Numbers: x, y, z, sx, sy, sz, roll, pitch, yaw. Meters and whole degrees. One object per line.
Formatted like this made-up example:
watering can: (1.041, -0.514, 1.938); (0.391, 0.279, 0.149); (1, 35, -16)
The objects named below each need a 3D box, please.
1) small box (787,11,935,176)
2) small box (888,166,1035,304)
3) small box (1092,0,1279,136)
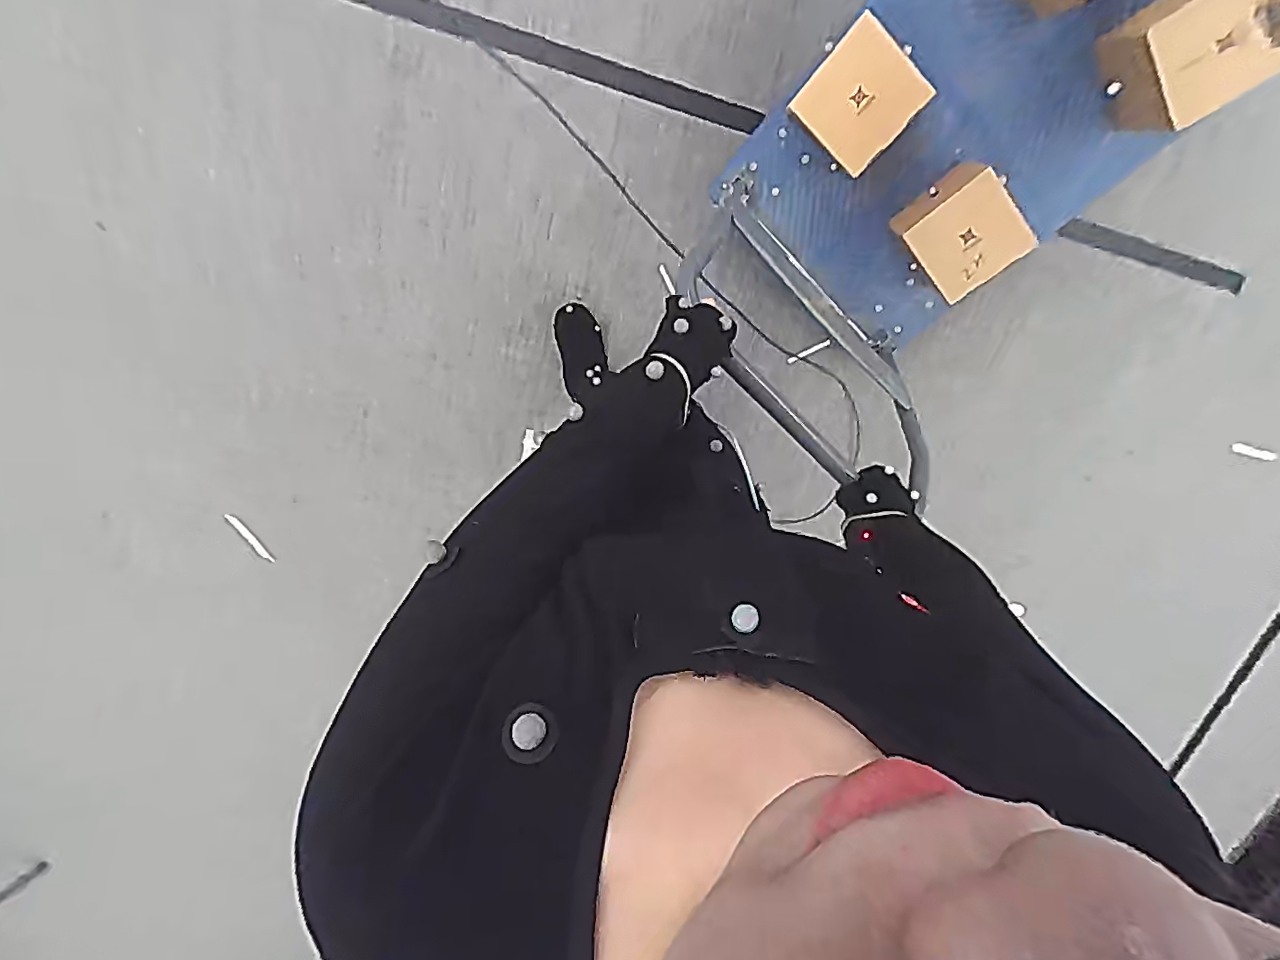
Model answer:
small box: (0.385, -0.685, 0.978); (0.179, 0.176, 0.168); (38, 122, -14)
small box: (0.615, -0.481, 1.057); (0.168, 0.176, 0.179); (-36, 109, 30)
small box: (0.882, -0.689, 0.862); (0.179, 0.176, 0.168); (-28, 112, 28)
